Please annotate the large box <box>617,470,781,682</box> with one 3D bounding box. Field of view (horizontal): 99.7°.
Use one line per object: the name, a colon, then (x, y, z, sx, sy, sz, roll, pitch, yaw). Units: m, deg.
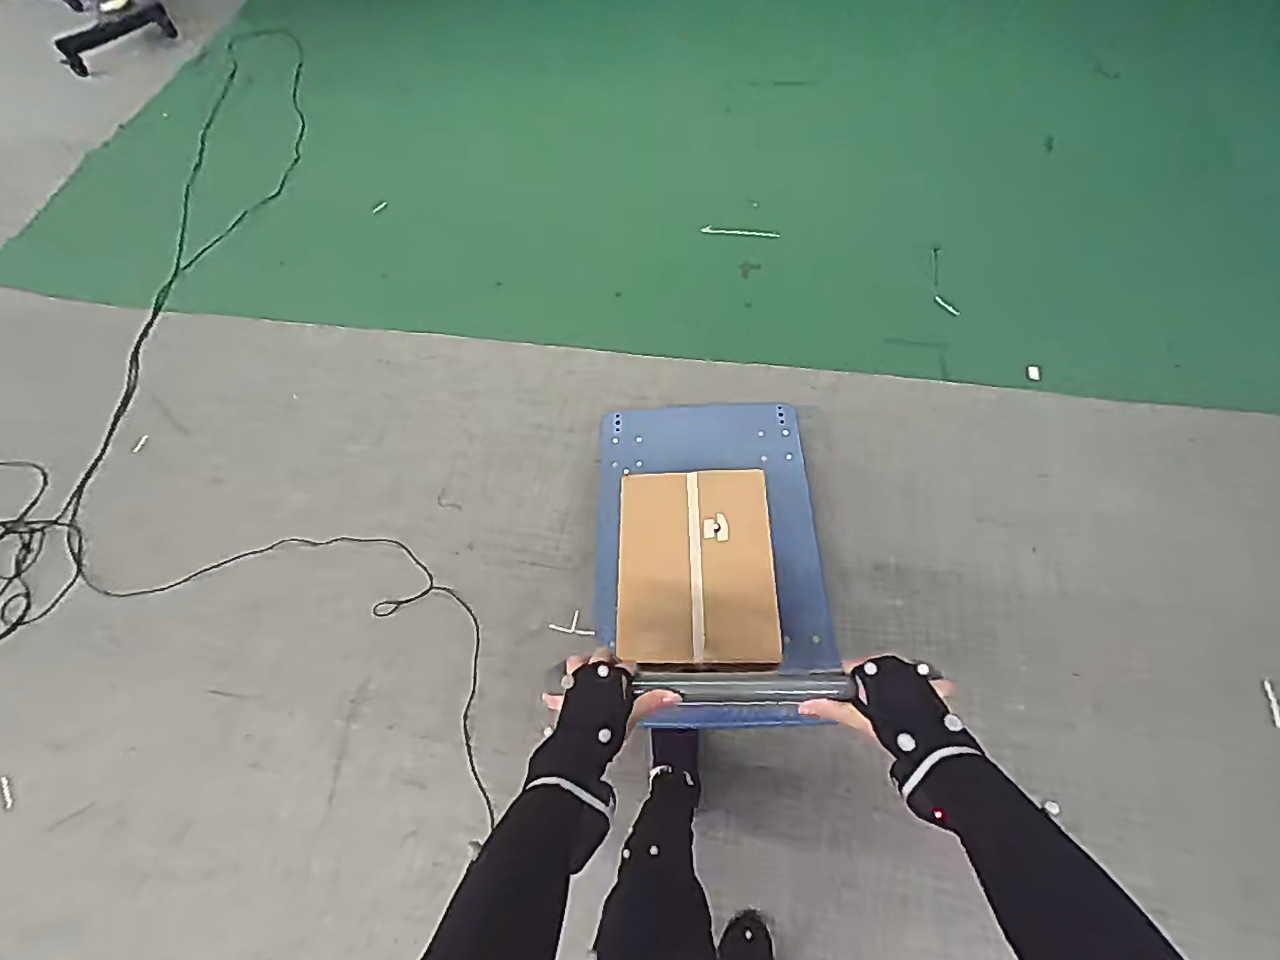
large box: (0.125, 0.231, 1.237, 0.320, 0.320, 0.408, -2, 62, 4)
